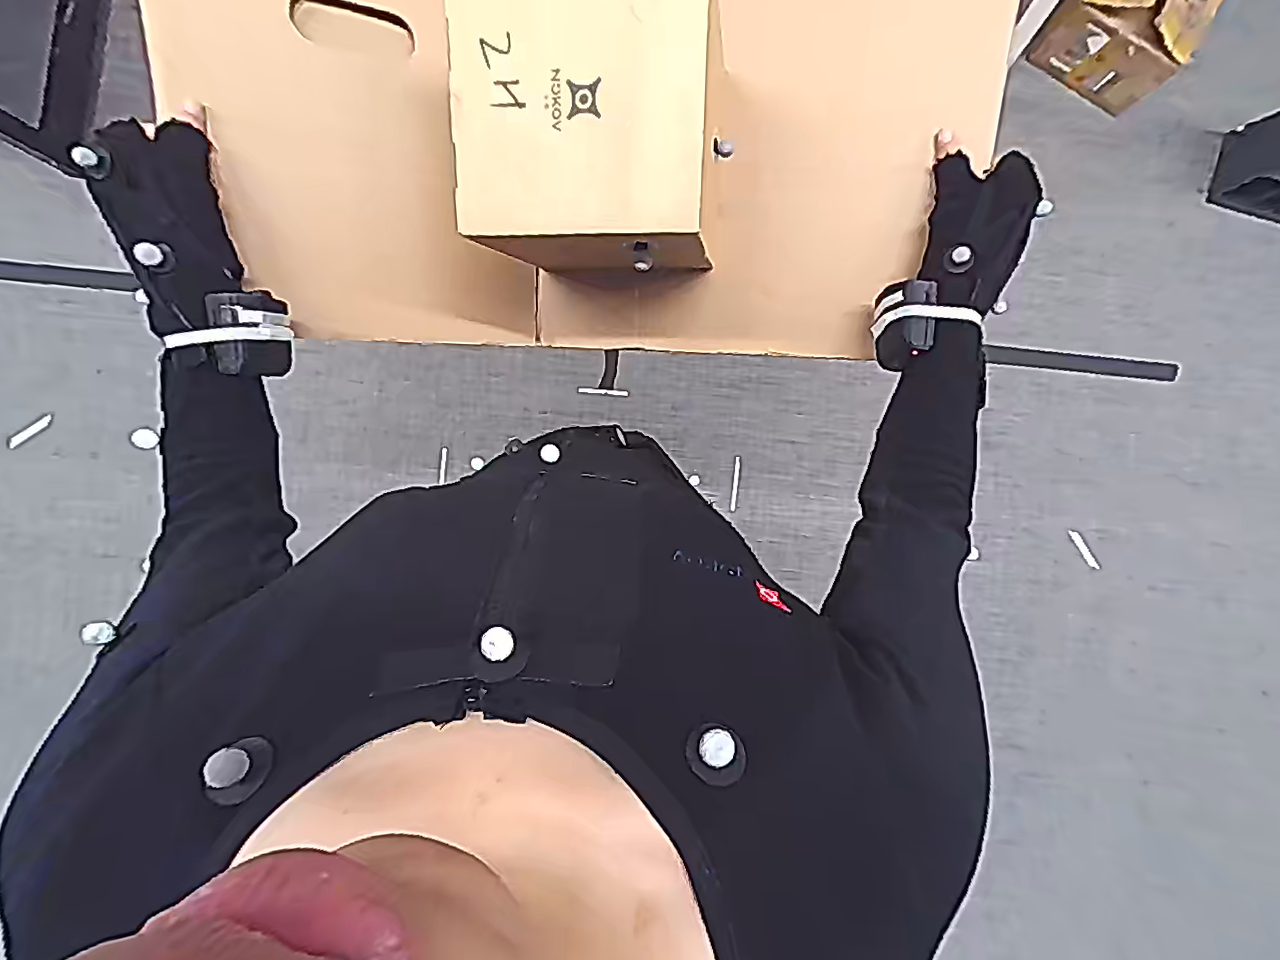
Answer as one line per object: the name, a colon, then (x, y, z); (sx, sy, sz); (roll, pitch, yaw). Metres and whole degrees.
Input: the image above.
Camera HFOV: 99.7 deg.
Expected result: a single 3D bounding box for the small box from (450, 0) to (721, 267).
small box: (-0.029, -0.272, 0.437); (0.179, 0.176, 0.168); (5, 104, 11)
